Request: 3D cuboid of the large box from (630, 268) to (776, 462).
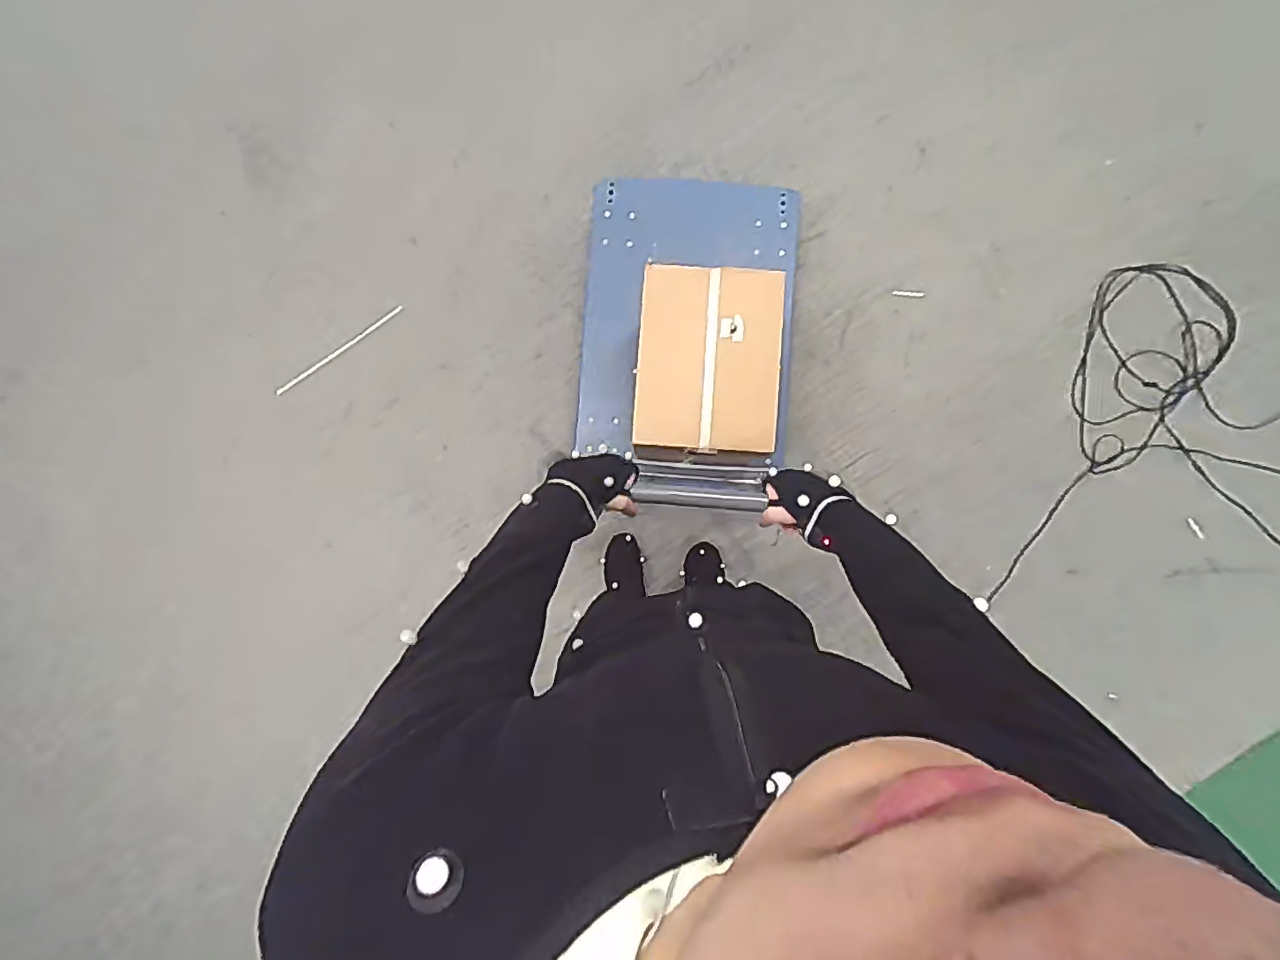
[{"bbox_3d":[0.146,-0.261,1.348,0.320,0.320,0.408,4,86,1],"label":"large box"}]
